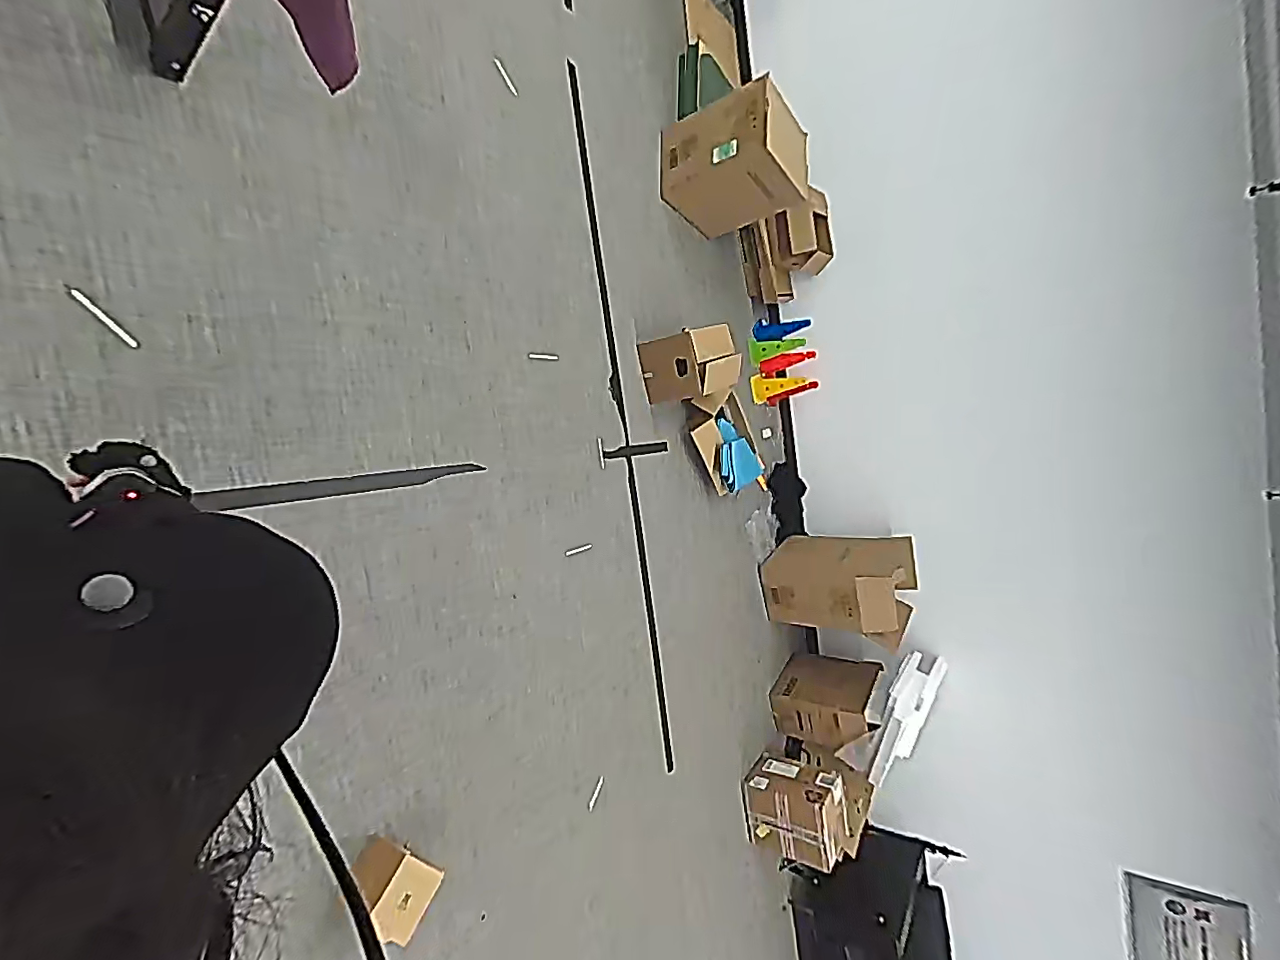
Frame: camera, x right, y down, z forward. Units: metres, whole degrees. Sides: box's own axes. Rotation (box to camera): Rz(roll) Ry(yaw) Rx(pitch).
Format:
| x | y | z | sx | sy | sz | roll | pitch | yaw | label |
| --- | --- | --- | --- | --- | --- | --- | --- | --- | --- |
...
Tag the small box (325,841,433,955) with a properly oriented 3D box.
| x | y | z | sx | sy | sz | roll | pitch | yaw | label |
| --- | --- | --- | --- | --- | --- | --- | --- | --- | --- |
| -0.704 | 1.113 | 1.448 | 0.168 | 0.176 | 0.179 | 59 | 43 | -33 | small box |
